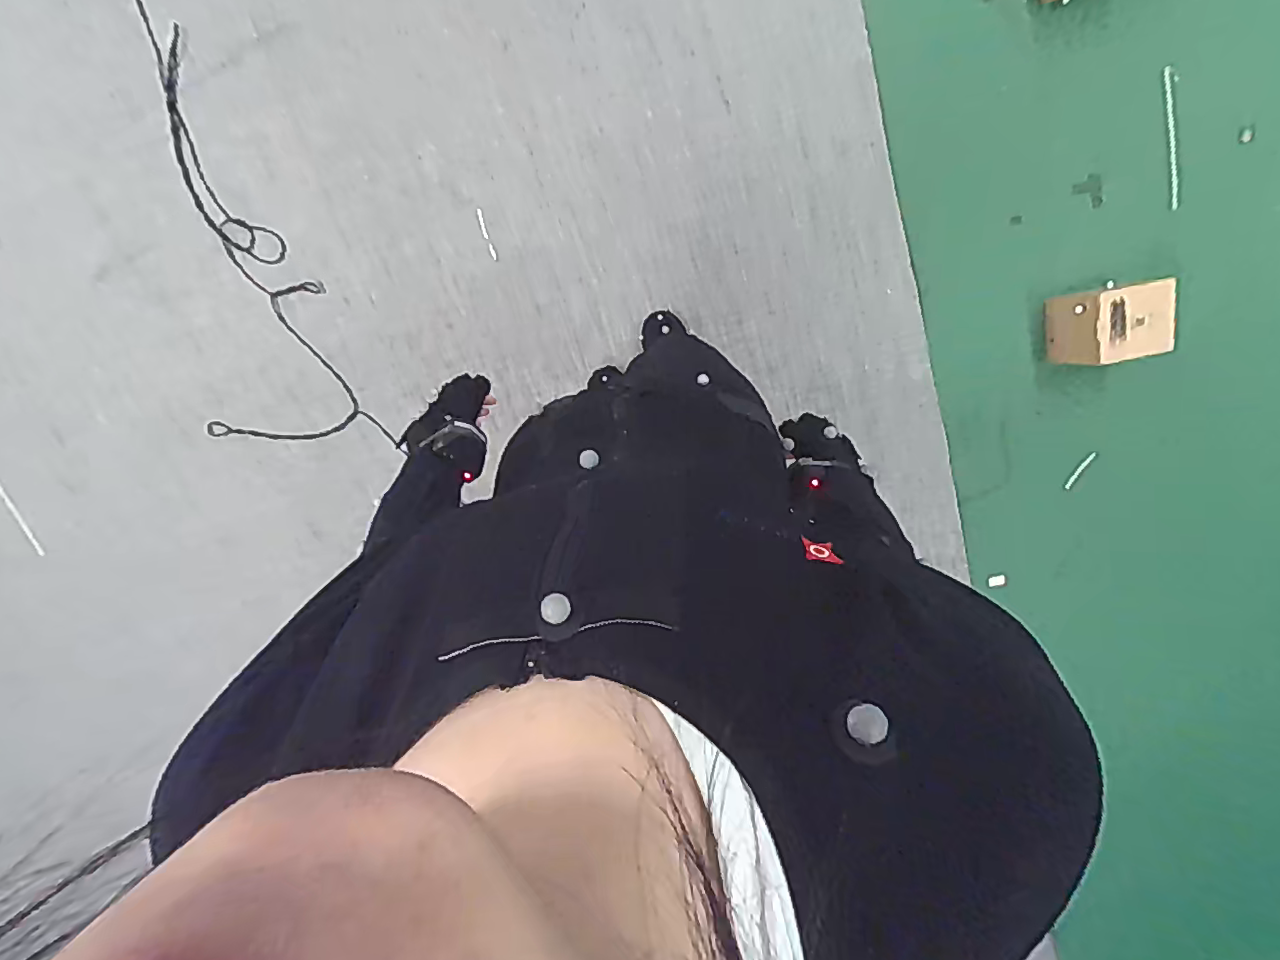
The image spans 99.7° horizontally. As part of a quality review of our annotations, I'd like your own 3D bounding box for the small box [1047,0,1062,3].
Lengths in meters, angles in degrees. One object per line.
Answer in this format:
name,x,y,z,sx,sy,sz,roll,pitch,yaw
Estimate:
small box,0.961,-1.154,1.128,0.168,0.176,0.179,-20,102,4
